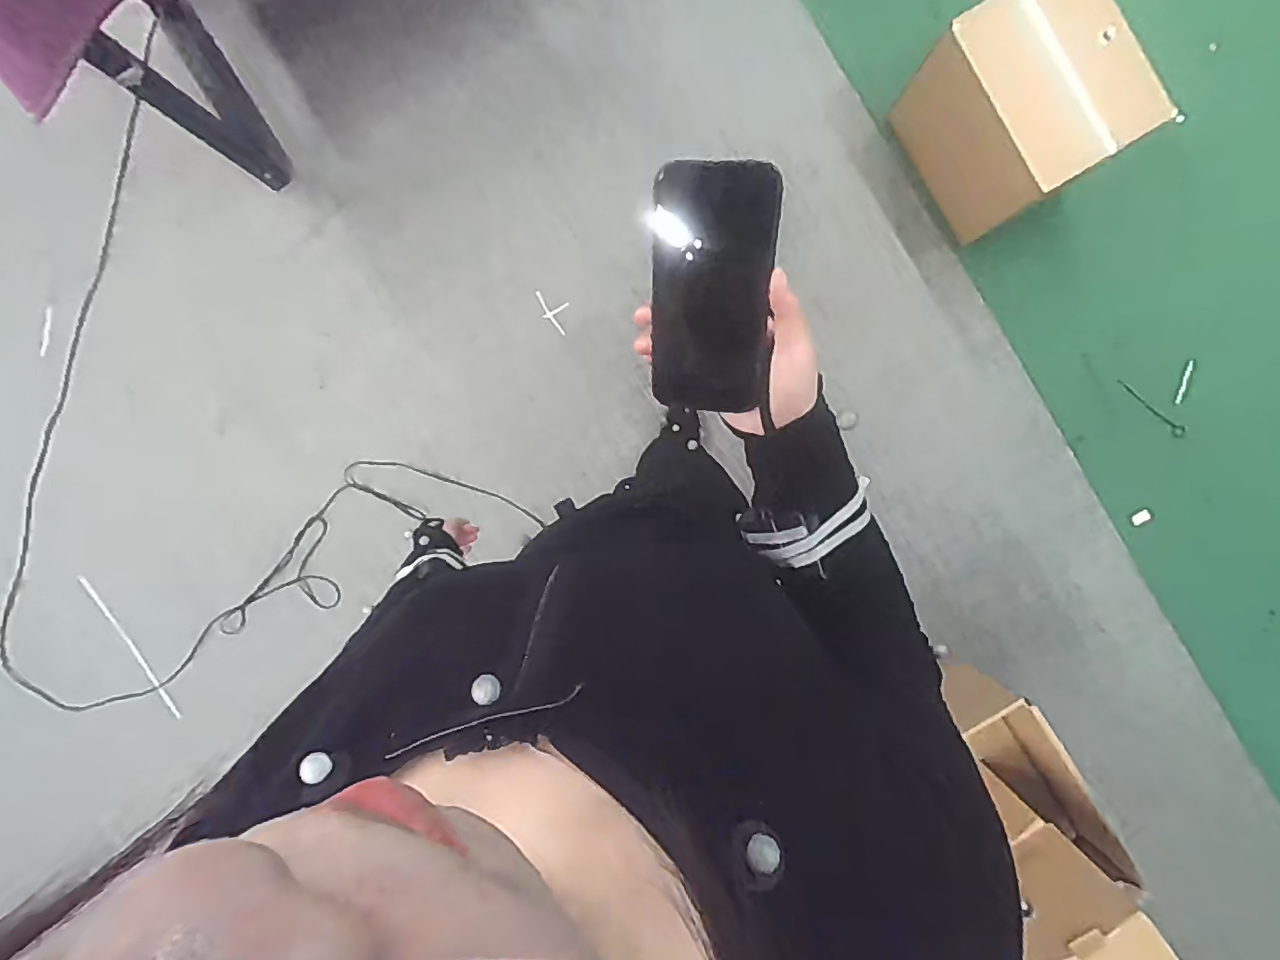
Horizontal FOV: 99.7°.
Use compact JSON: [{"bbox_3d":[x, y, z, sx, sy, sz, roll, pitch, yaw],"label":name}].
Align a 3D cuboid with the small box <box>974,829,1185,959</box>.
[{"bbox_3d":[0.639,0.656,0.788,0.168,0.176,0.179,-36,92,5],"label":"small box"}]
